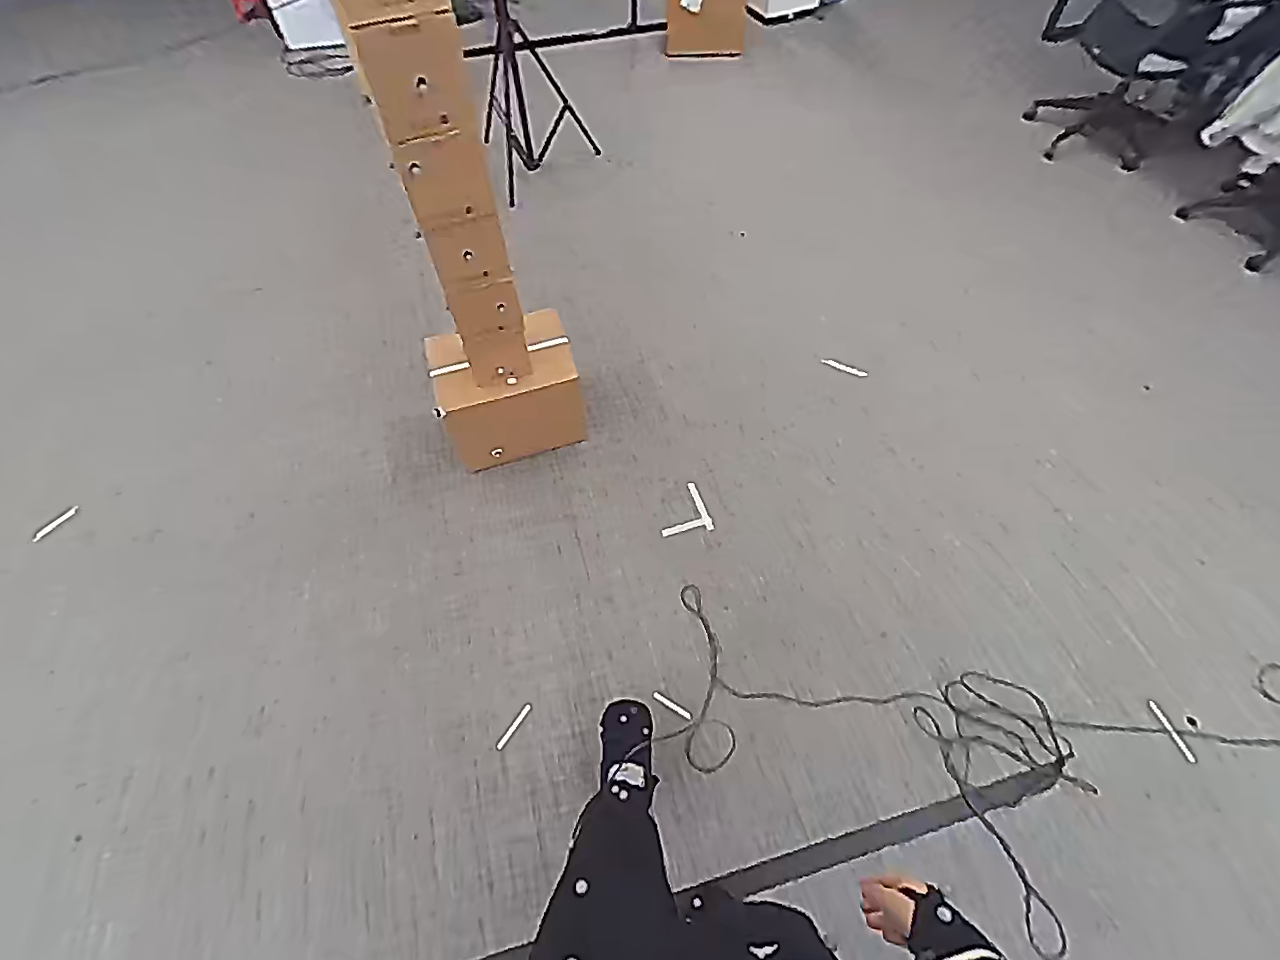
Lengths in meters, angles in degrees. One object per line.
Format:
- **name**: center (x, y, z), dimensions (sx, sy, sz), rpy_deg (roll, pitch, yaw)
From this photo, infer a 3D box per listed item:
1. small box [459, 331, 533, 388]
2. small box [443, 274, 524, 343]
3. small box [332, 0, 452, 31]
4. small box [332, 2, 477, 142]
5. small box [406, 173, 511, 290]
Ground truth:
- **small box**: center (-0.409, -0.390, 1.515), dimensions (0.168, 0.176, 0.179), rpy_deg (-17, 61, -9)
- **small box**: center (-0.403, -0.471, 1.375), dimensions (0.168, 0.176, 0.179), rpy_deg (-17, 59, -11)
- **small box**: center (-0.406, -0.813, 0.816), dimensions (0.168, 0.176, 0.179), rpy_deg (-25, 61, -15)
- **small box**: center (-0.405, -0.726, 0.954), dimensions (0.168, 0.176, 0.179), rpy_deg (-24, 63, -15)
- **small box**: center (-0.408, -0.558, 1.236), dimensions (0.168, 0.176, 0.179), rpy_deg (-21, 61, -14)
